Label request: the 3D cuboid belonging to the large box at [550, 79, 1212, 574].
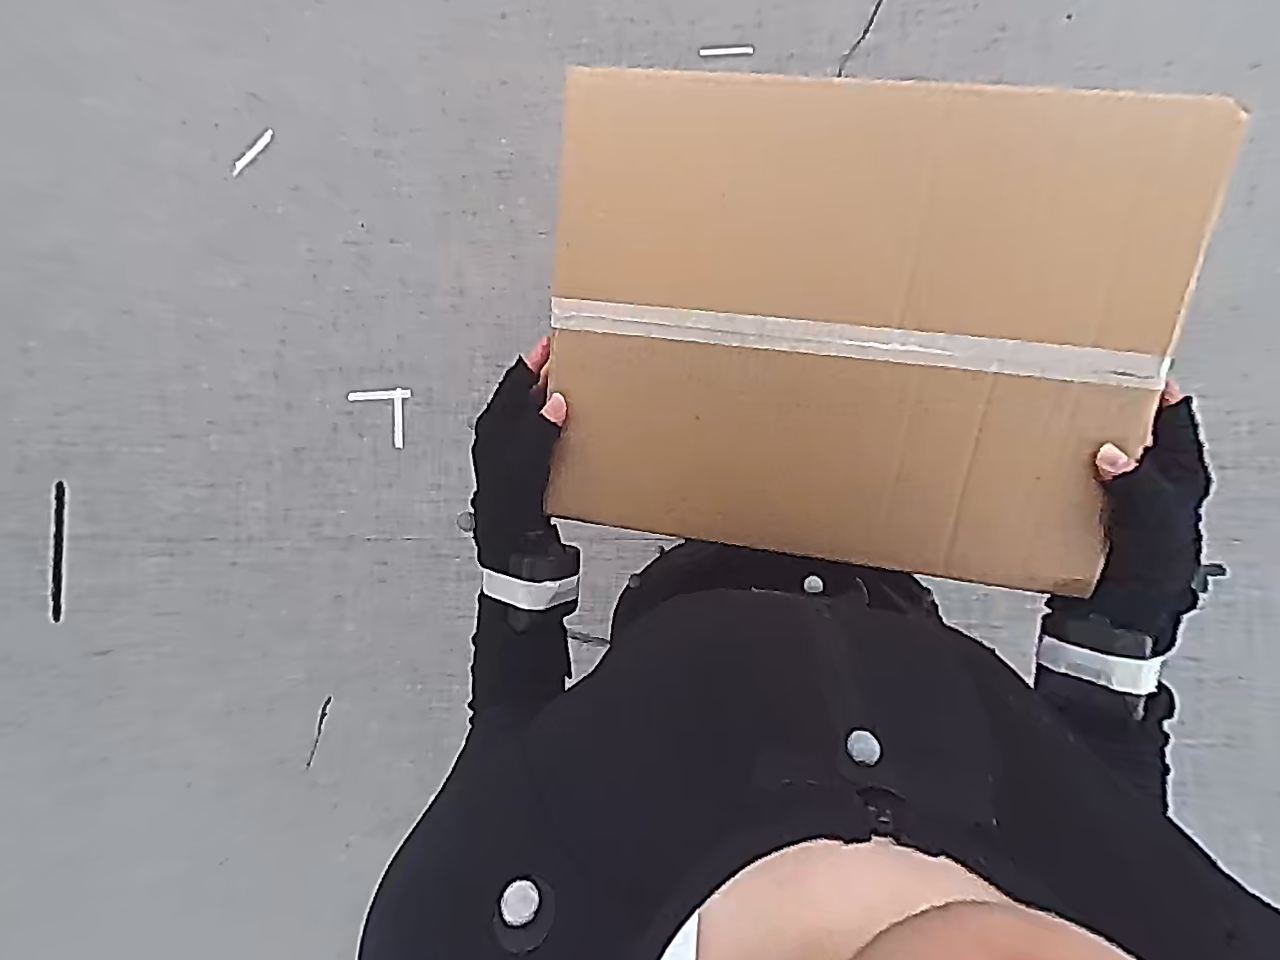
[{"bbox_3d":[0.154,-0.135,0.524,0.408,0.320,0.320,8,105,7],"label":"large box"}]
